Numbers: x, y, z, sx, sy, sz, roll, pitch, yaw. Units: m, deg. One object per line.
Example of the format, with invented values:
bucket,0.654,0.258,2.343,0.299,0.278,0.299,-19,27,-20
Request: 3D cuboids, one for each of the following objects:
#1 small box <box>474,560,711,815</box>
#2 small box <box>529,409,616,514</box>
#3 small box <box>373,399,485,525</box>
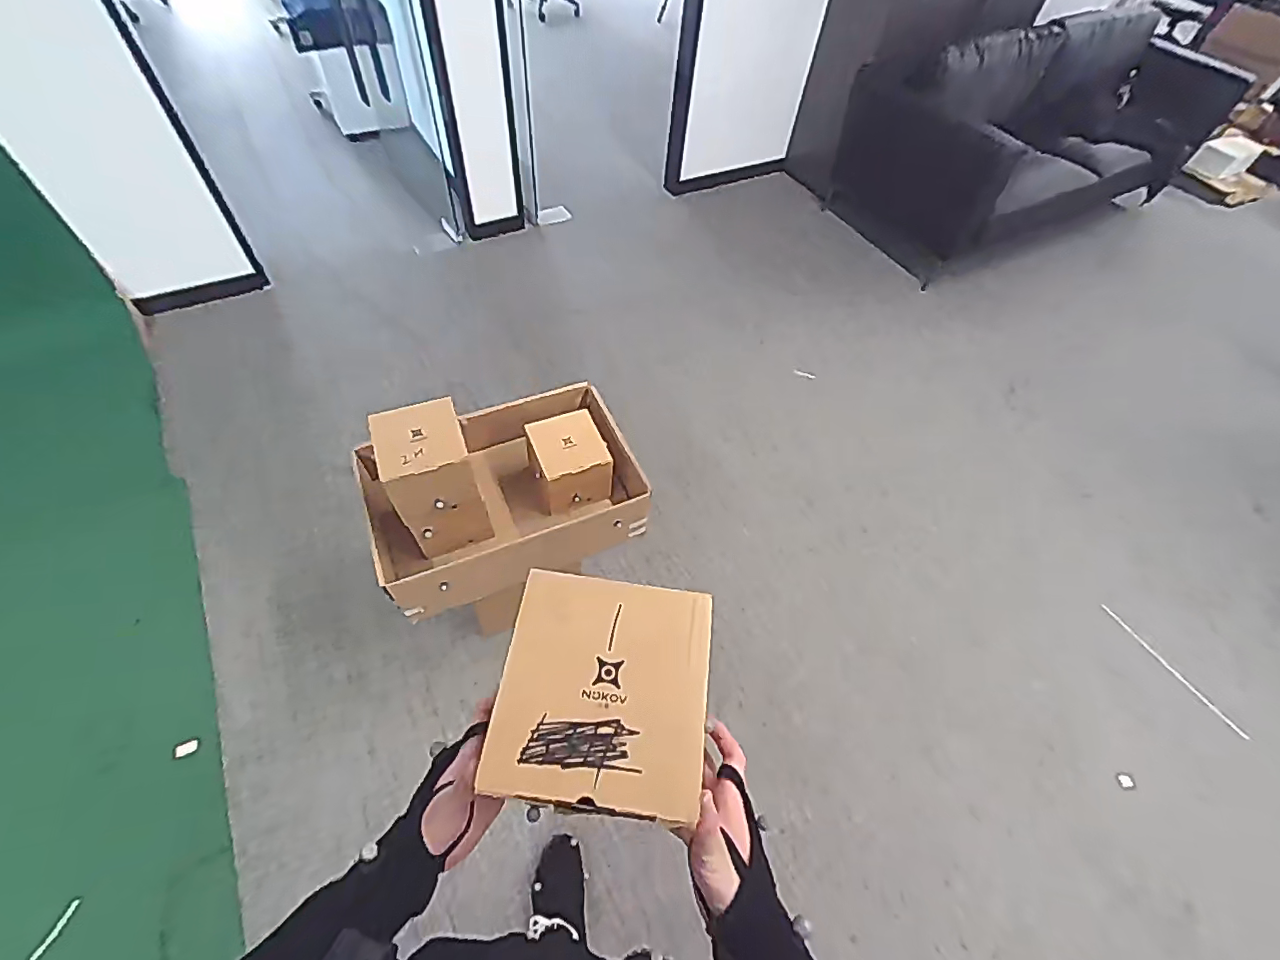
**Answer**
small box,-0.032,0.197,0.500,0.168,0.176,0.179,8,57,2
small box,-0.172,-0.045,1.359,0.168,0.176,0.179,-19,60,-17
small box,-0.437,-0.036,1.131,0.168,0.176,0.179,-18,59,-15
